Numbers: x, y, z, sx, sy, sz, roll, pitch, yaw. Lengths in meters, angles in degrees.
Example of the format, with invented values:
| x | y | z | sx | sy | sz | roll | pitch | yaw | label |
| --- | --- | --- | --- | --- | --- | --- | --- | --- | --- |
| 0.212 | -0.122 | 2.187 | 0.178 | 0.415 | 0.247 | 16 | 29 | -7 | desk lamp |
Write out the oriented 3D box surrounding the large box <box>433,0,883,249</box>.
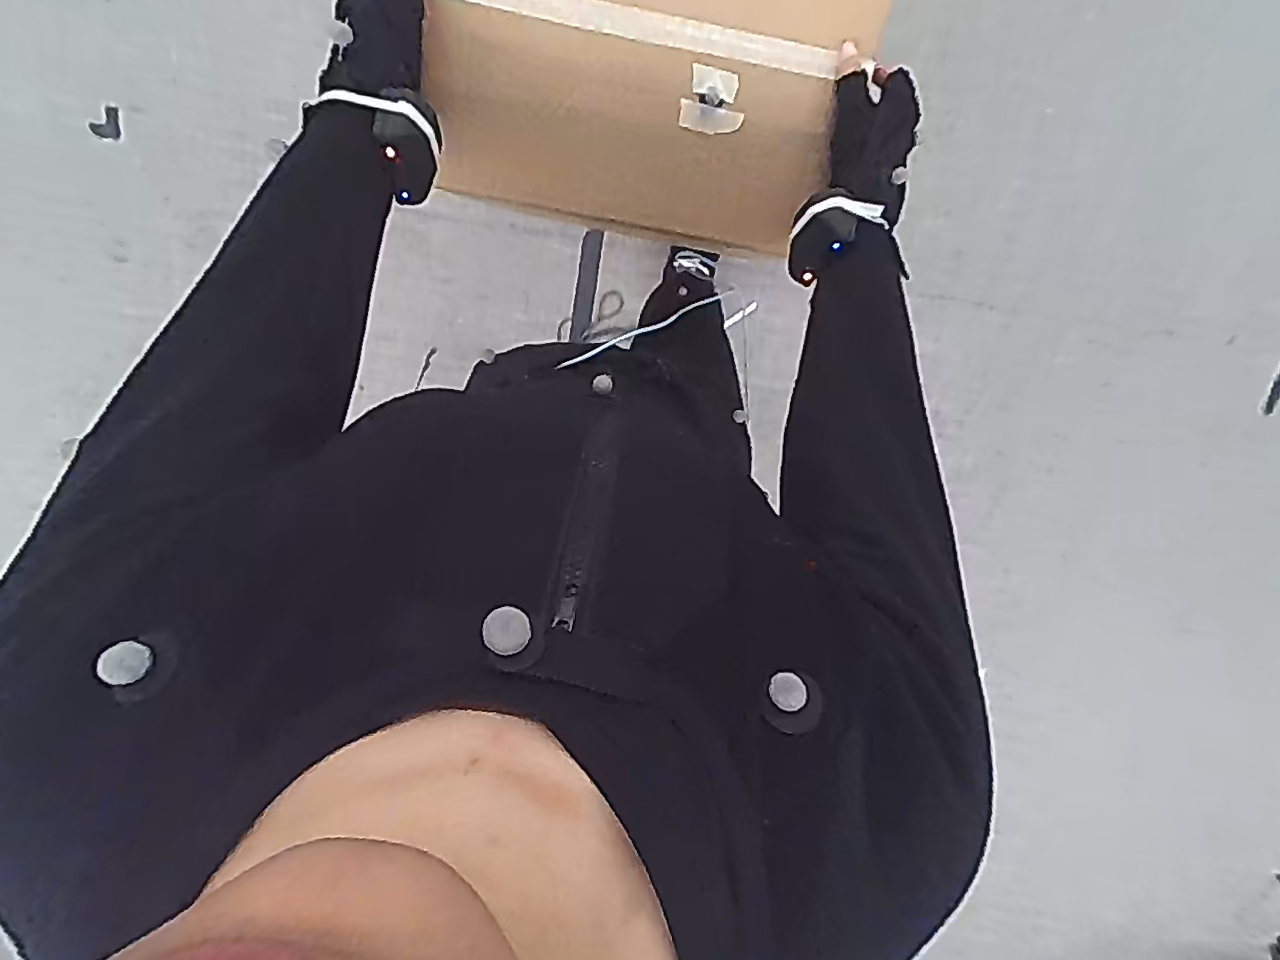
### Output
| x | y | z | sx | sy | sz | roll | pitch | yaw | label |
| --- | --- | --- | --- | --- | --- | --- | --- | --- | --- |
| 0.009 | -0.467 | 0.628 | 0.408 | 0.320 | 0.320 | 8 | 113 | -5 | large box |
